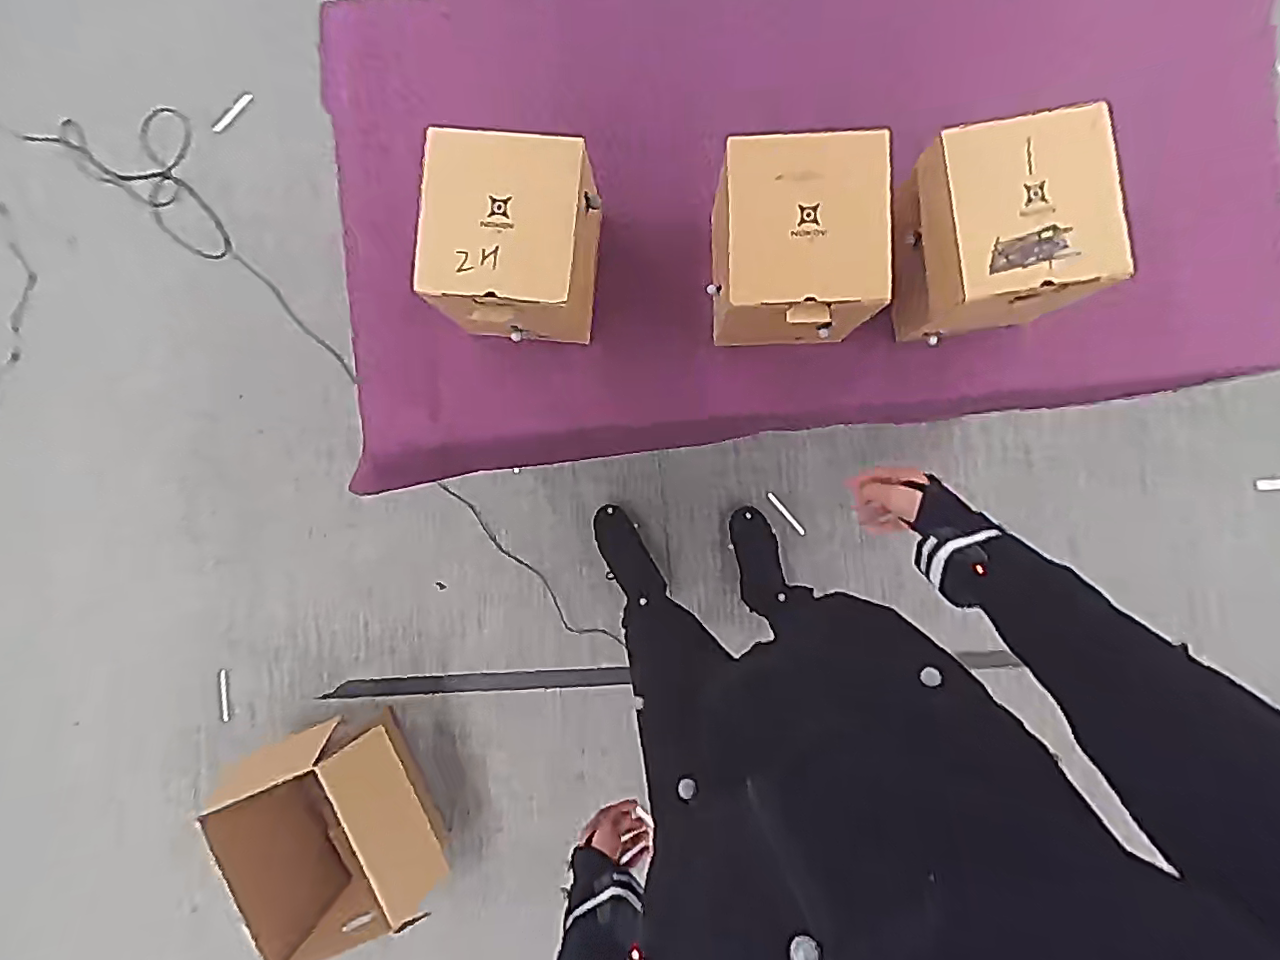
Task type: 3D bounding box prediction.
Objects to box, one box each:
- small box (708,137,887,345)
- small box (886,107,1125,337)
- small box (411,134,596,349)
[{"bbox_3d":[0.170,-0.259,0.629,0.168,0.176,0.179,-1,90,2],"label":"small box"},{"bbox_3d":[0.391,-0.273,0.619,0.168,0.176,0.179,-9,89,2],"label":"small box"},{"bbox_3d":[-0.147,-0.267,0.639,0.168,0.176,0.179,5,91,3],"label":"small box"}]
